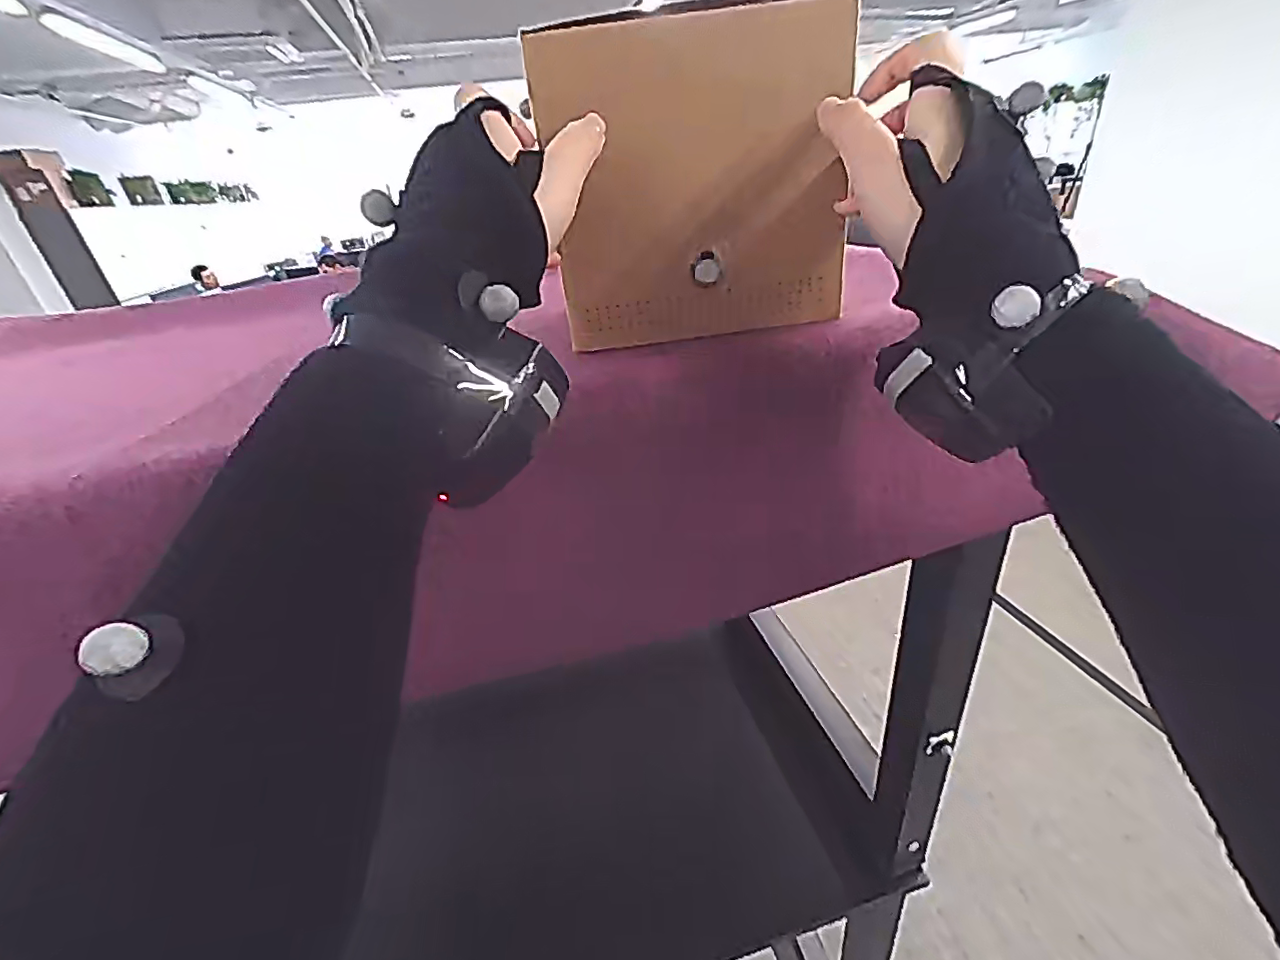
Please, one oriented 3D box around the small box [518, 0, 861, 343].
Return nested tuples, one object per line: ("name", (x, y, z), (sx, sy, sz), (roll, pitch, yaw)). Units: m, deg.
("small box", (0.028, -0.204, 0.375), (0.179, 0.176, 0.168), (-8, 28, -1))
